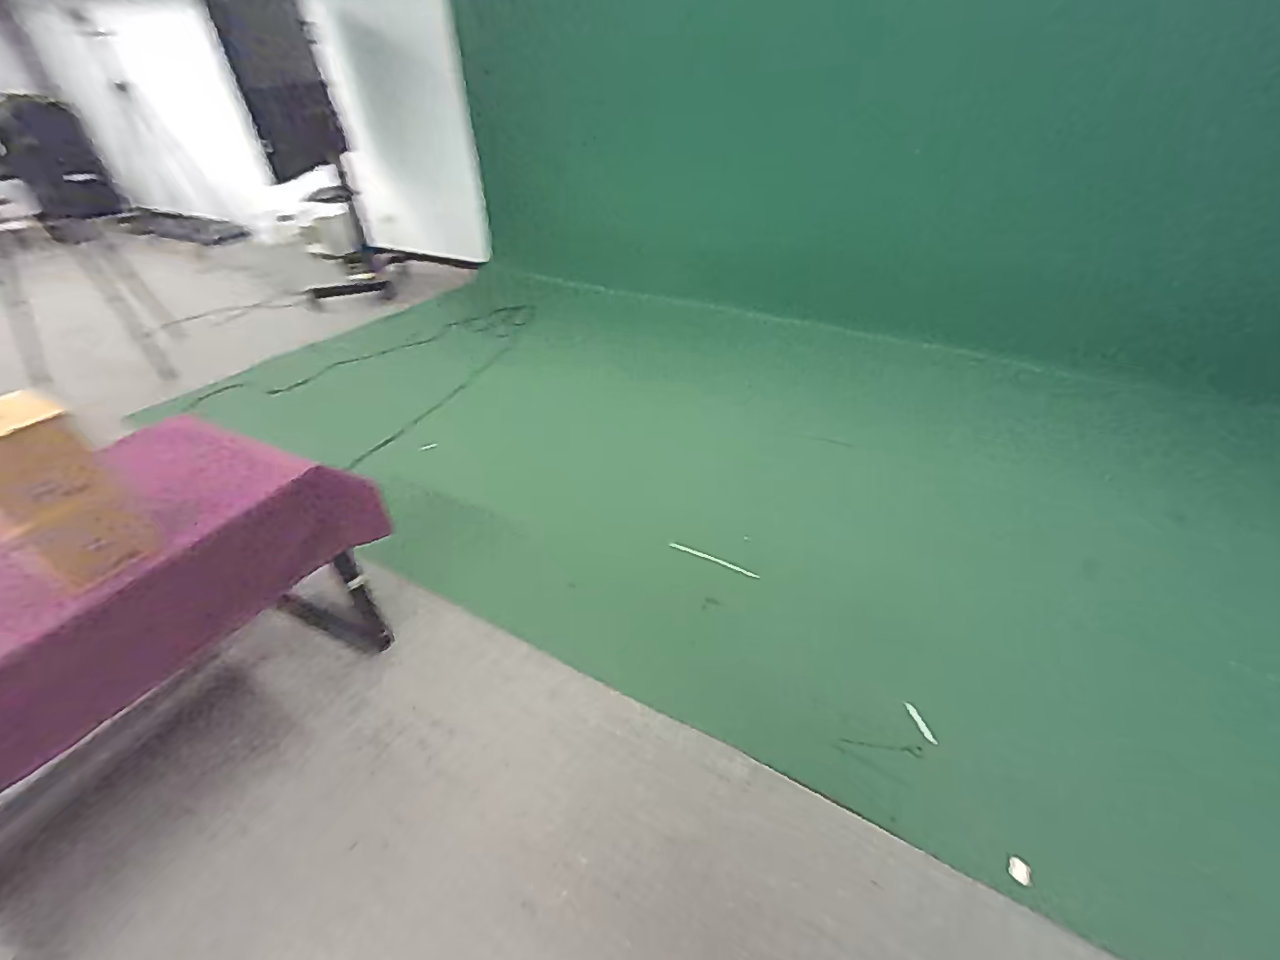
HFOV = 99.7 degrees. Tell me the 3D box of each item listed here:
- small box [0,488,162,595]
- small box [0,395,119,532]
[{"bbox_3d":[-1.122,0.104,1.080,0.179,0.176,0.168,17,41,23],"label":"small box"},{"bbox_3d":[-1.130,-0.031,0.988,0.179,0.176,0.168,18,42,22],"label":"small box"}]
